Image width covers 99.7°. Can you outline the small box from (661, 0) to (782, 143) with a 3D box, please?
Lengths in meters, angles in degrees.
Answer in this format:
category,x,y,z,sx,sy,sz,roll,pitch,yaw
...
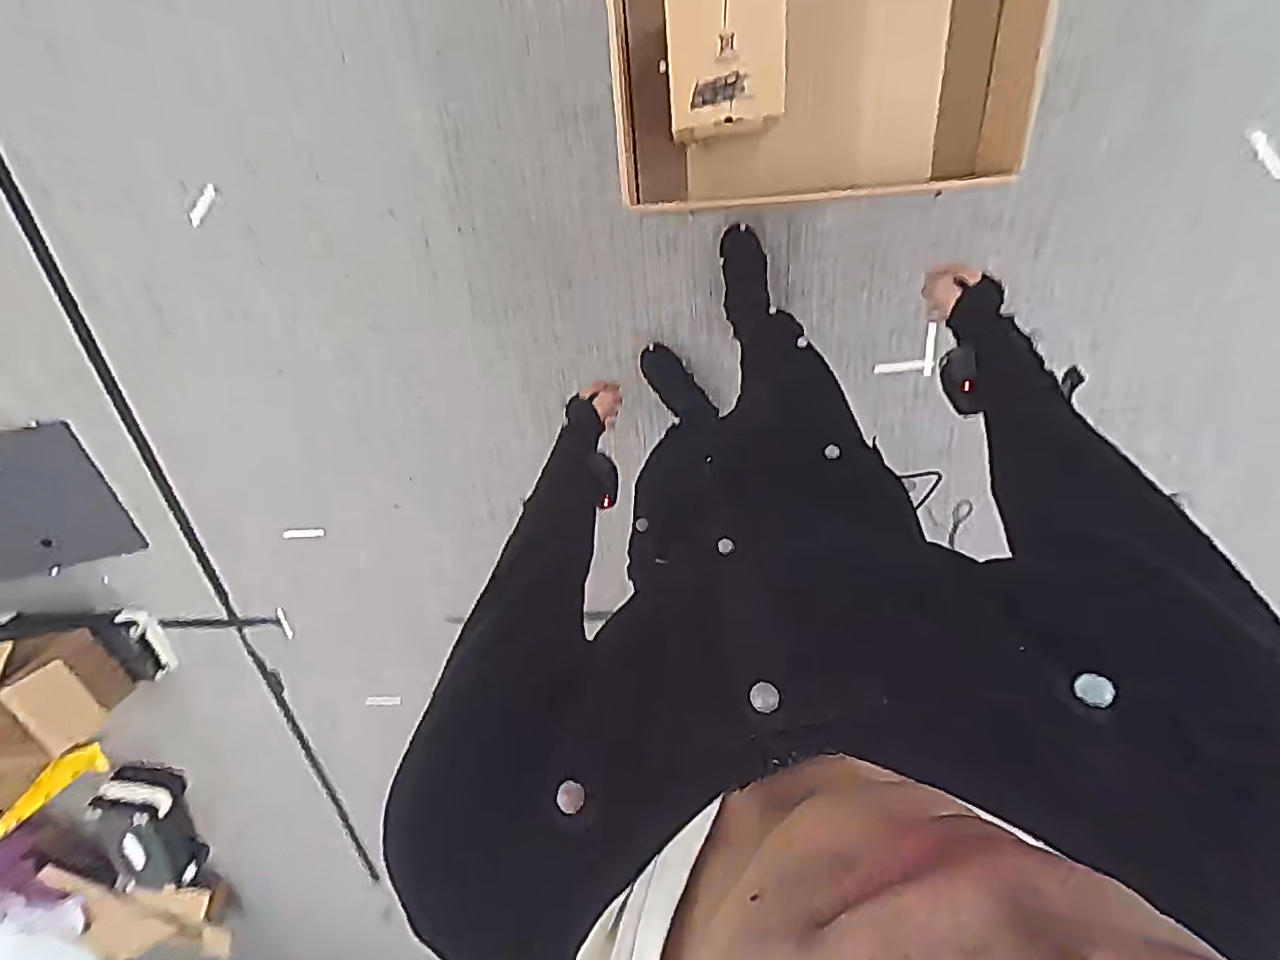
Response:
category,x,y,z,sx,sy,sz,roll,pitch,yaw
small box,0.124,-0.634,0.835,0.168,0.176,0.179,-3,114,6
